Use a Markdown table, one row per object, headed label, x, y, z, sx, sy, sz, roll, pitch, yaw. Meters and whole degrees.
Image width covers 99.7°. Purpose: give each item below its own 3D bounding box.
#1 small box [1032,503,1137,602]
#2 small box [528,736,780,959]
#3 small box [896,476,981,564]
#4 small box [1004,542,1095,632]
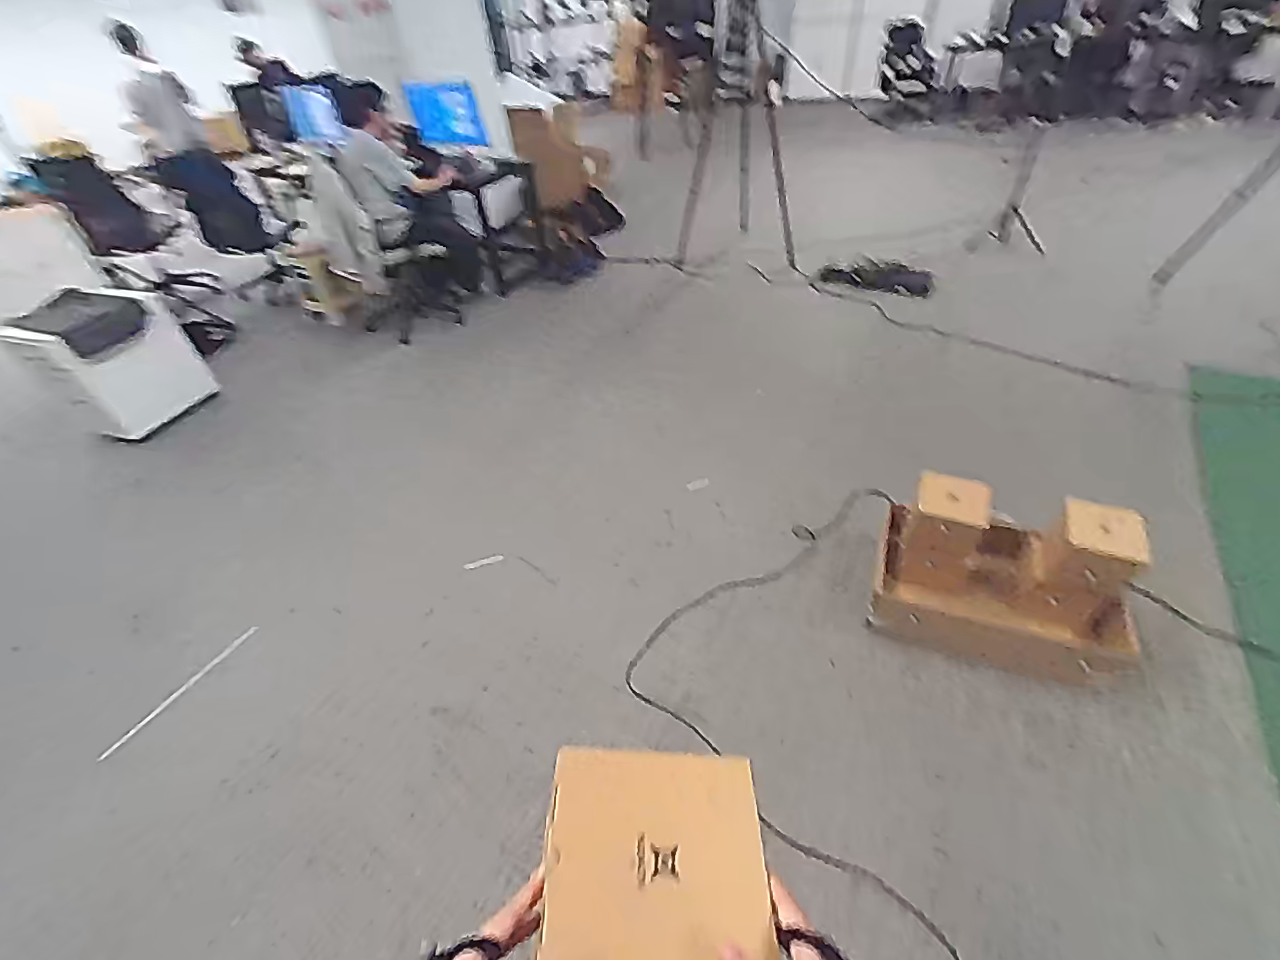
| label | x | y | z | sx | sy | sz | roll | pitch | yaw |
| --- | --- | --- | --- | --- | --- | --- | --- | --- | --- |
| small box | 1.183 | 0.198 | 1.452 | 0.168 | 0.176 | 0.179 | 16 | 47 | 21 |
| small box | 0.002 | 0.348 | 0.471 | 0.179 | 0.176 | 0.168 | 8 | 40 | -6 |
| small box | 0.864 | 0.119 | 1.573 | 0.179 | 0.176 | 0.168 | 16 | 49 | 21 |
| small box | 1.182 | 0.313 | 1.571 | 0.179 | 0.176 | 0.168 | 15 | 47 | 22 |
